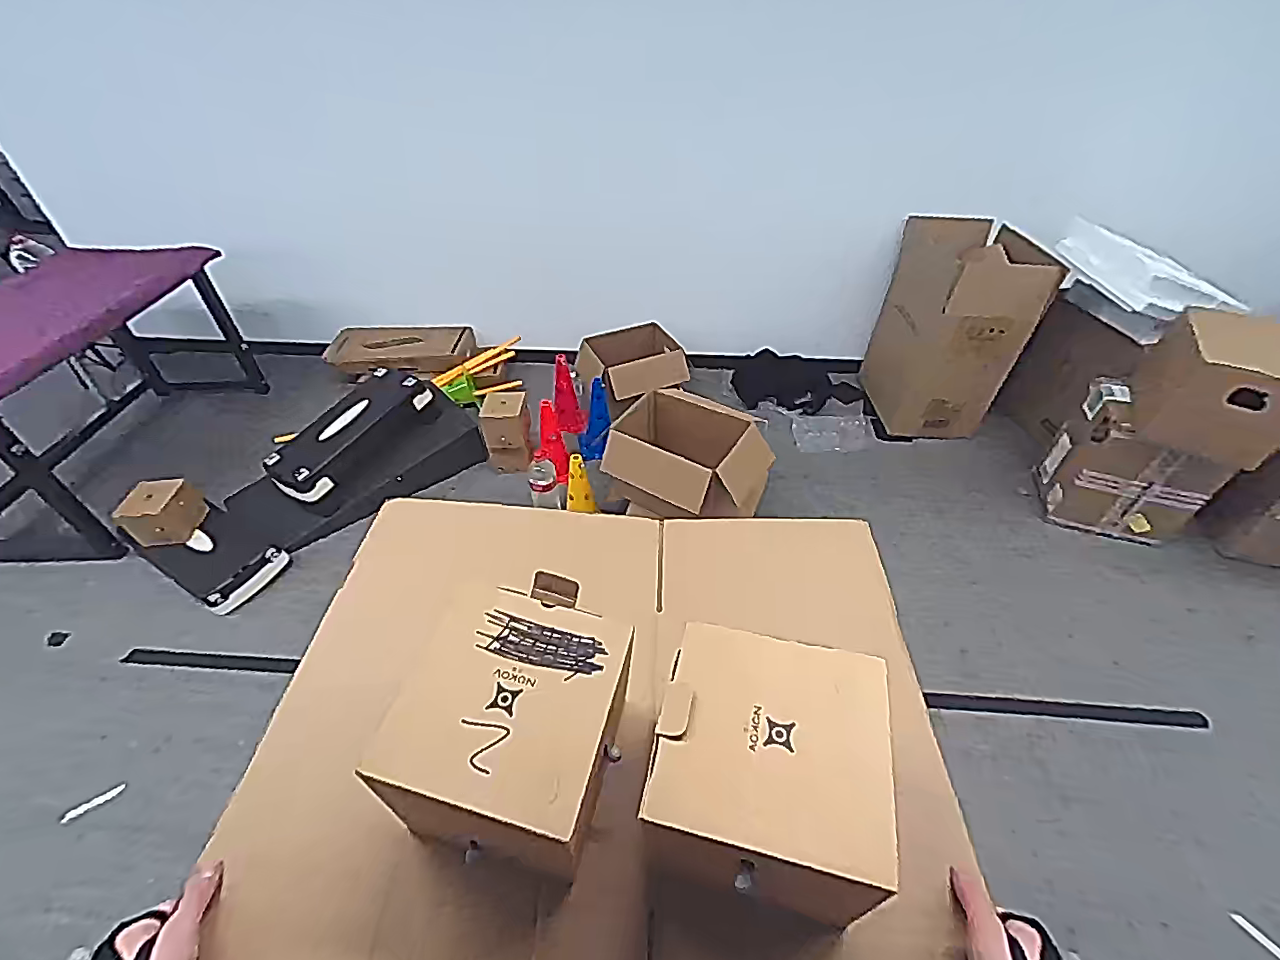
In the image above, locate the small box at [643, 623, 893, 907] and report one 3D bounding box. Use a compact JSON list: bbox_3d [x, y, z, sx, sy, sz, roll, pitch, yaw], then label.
[{"bbox_3d":[0.112,0.257,0.488,0.179,0.176,0.168,7,46,14],"label":"small box"}]
